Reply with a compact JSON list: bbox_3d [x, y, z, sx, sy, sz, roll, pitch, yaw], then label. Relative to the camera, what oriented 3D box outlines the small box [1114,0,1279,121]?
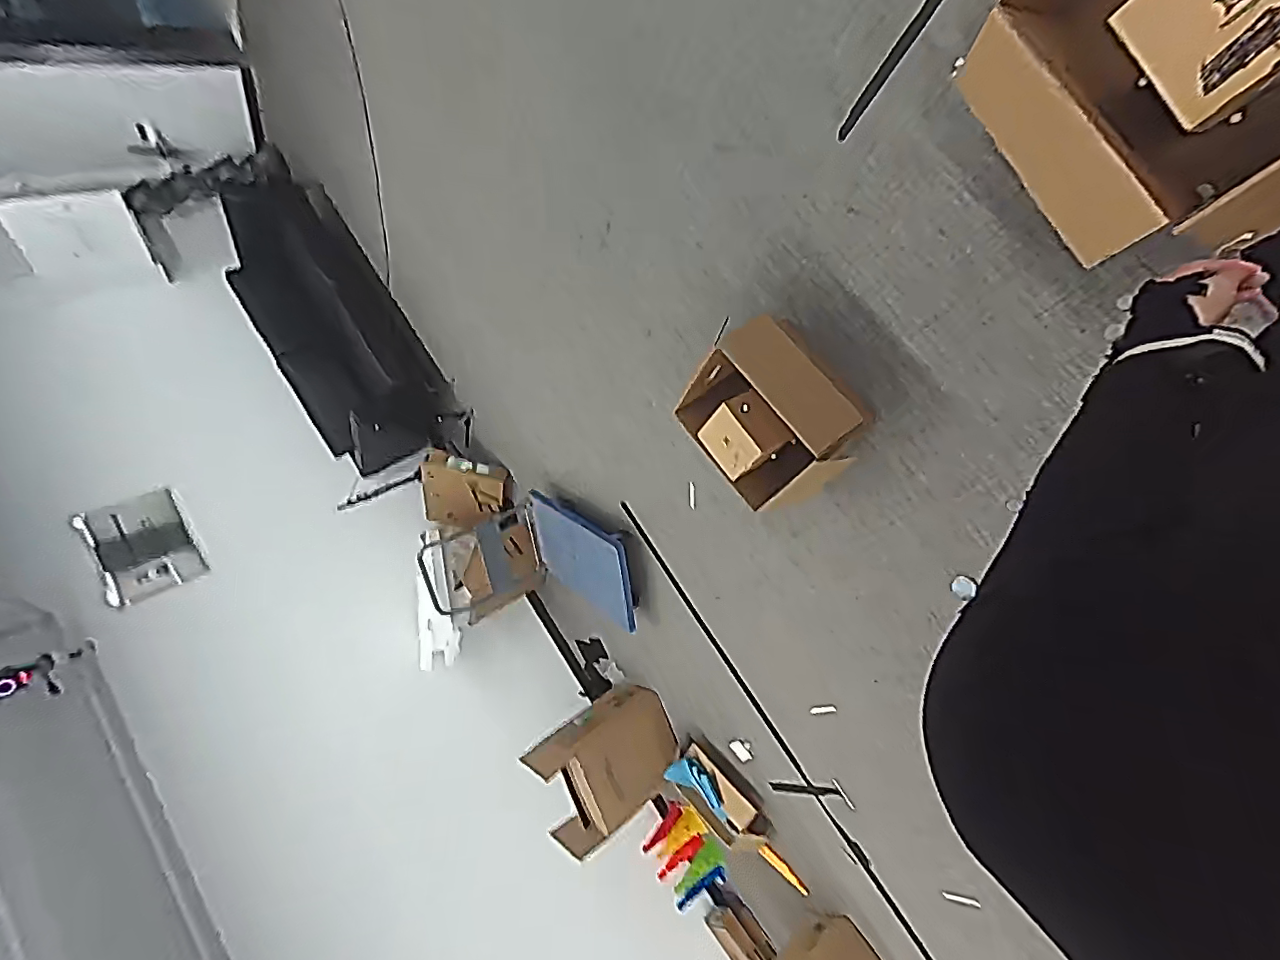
[{"bbox_3d":[0.724,-0.566,0.641,0.179,0.176,0.168,61,145,5],"label":"small box"}]

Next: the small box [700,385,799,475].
[{"bbox_3d":[0.310,-0.148,1.529,0.179,0.176,0.168,54,147,11],"label":"small box"}]
